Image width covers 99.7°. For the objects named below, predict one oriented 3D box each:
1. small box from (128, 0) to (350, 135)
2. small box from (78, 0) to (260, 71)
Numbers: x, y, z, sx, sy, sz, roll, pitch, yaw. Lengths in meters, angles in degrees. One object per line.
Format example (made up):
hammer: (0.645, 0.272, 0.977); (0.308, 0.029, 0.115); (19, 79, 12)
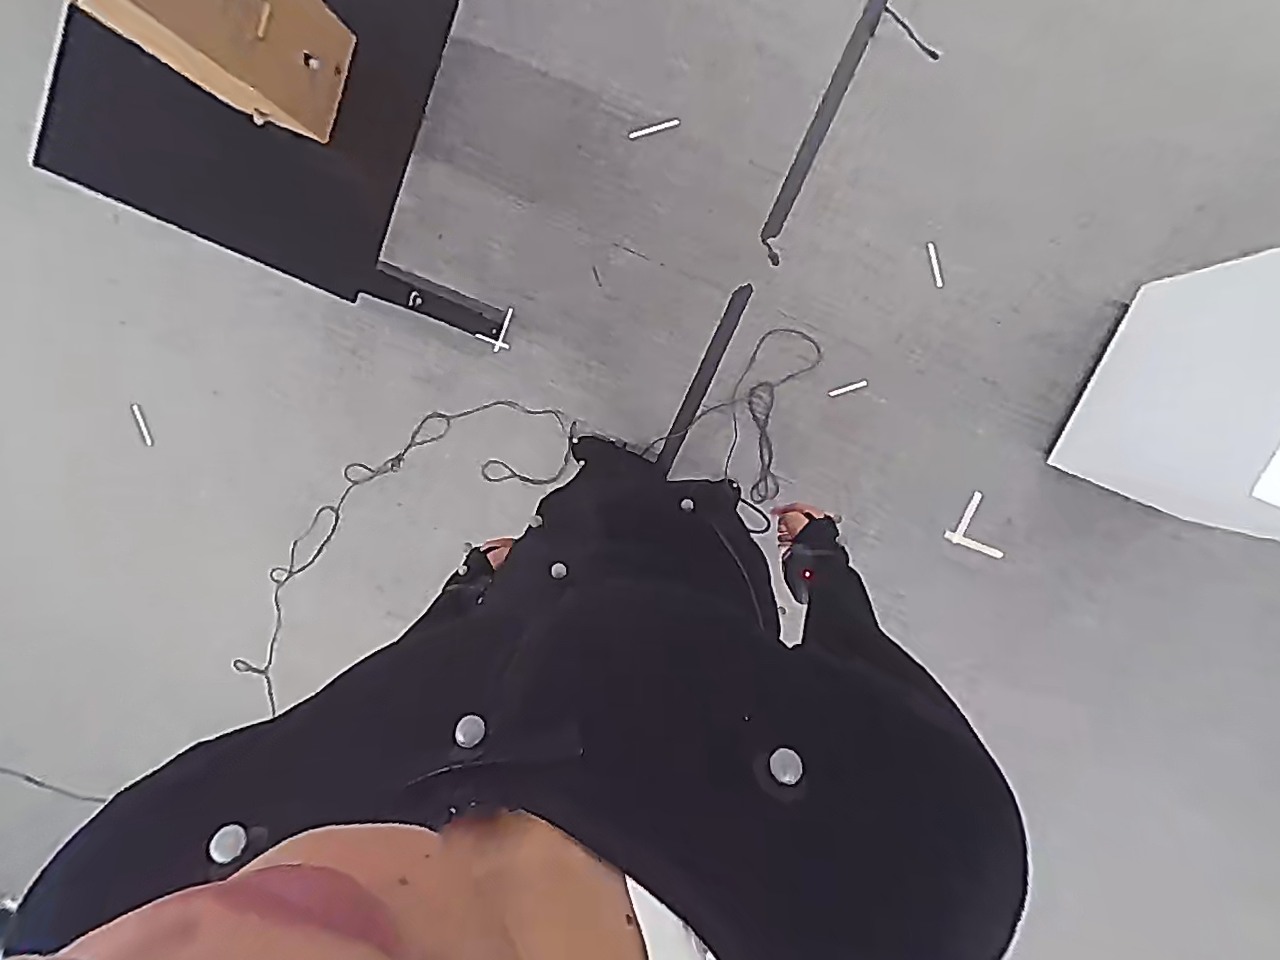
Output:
small box: (-0.557, -0.634, 0.773); (0.179, 0.176, 0.168); (22, 98, 2)
small box: (-0.574, -0.614, 0.610); (0.179, 0.176, 0.168); (23, 99, 2)
